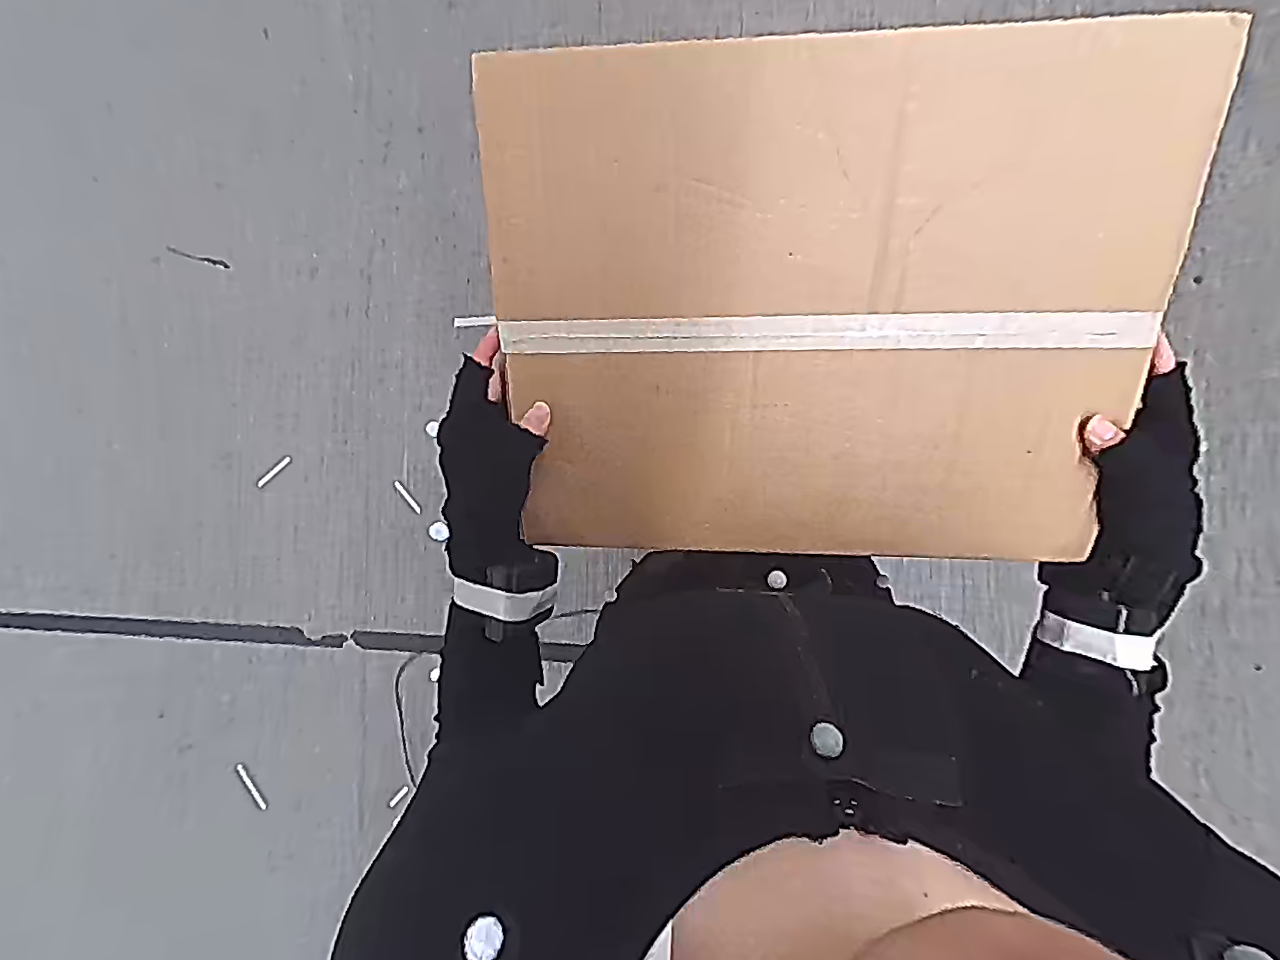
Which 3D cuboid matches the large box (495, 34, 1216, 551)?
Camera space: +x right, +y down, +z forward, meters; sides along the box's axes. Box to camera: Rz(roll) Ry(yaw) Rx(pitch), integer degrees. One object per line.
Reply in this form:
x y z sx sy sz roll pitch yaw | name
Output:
0.124 -0.144 0.493 0.408 0.320 0.320 1 111 5 | large box
